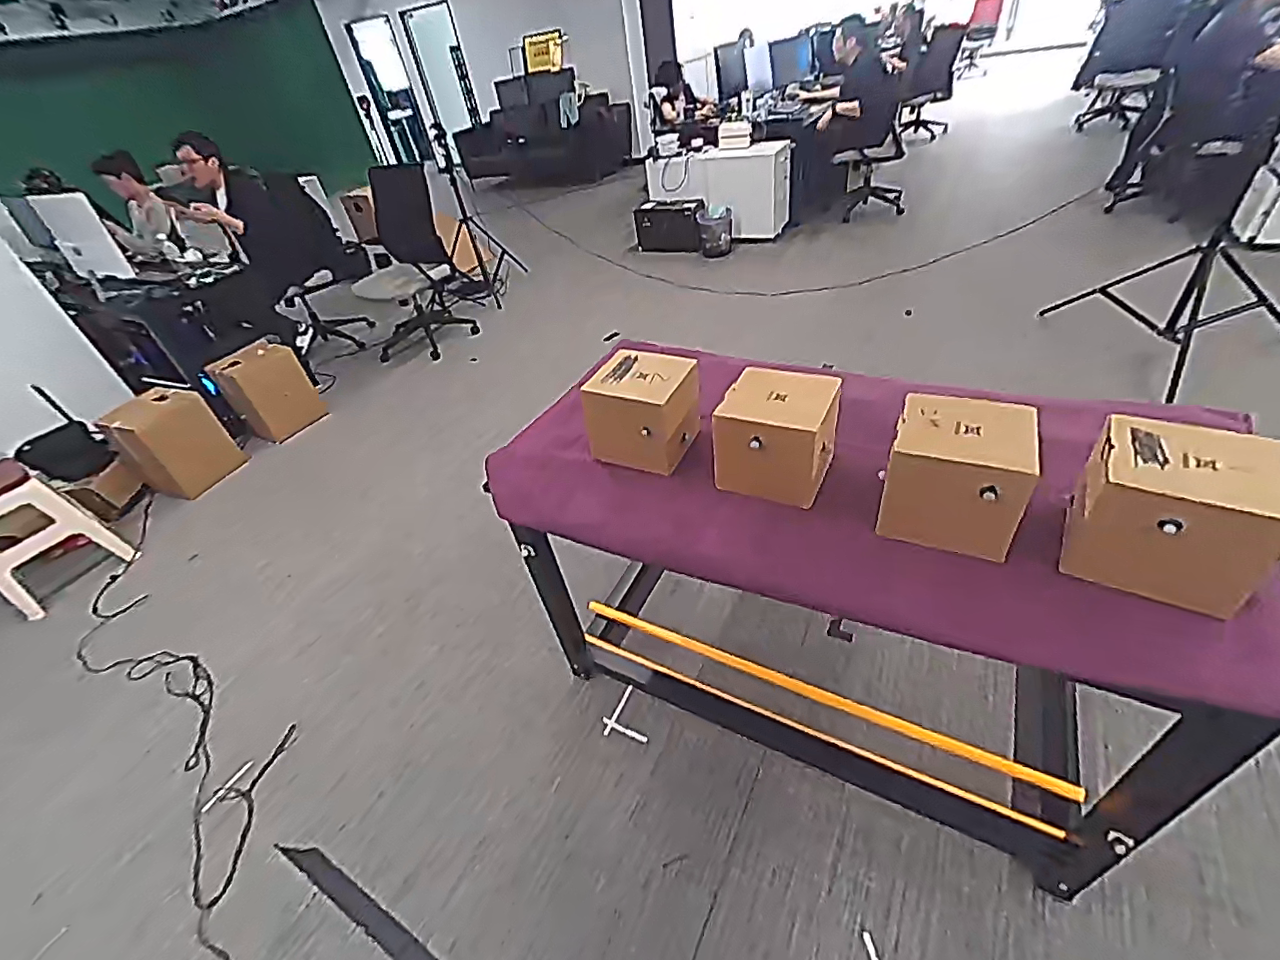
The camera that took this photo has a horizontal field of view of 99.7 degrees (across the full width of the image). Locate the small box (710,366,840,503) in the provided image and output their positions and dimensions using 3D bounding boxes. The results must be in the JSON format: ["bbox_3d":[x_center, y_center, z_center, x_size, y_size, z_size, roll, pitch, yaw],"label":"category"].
[{"bbox_3d":[0.241,-0.081,0.959,0.179,0.176,0.168,13,45,27],"label":"small box"}]

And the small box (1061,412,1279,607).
[{"bbox_3d":[0.685,0.036,0.707,0.179,0.176,0.168,18,47,30],"label":"small box"}]

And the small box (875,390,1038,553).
[{"bbox_3d":[0.471,-0.013,0.817,0.179,0.176,0.168,13,43,26],"label":"small box"}]
